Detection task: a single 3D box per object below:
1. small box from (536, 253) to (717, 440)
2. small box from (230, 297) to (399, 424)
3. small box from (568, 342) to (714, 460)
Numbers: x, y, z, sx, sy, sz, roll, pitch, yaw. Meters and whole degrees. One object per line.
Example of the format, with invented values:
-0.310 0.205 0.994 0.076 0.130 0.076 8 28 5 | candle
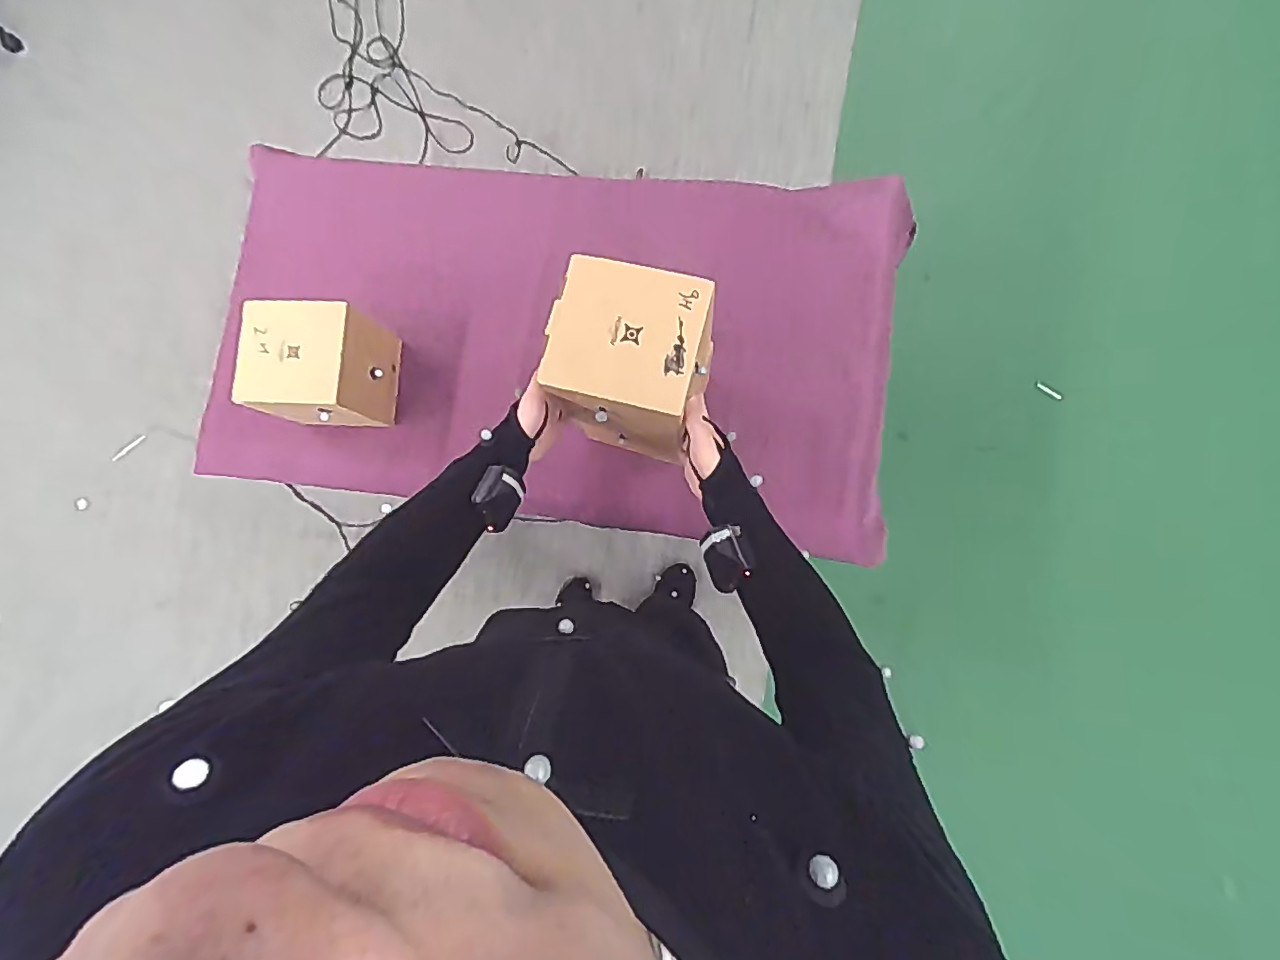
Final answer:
-0.008 -0.159 0.695 0.179 0.176 0.168 14 85 7 | small box
-0.534 -0.193 0.912 0.179 0.176 0.168 3 84 5 | small box
0.007 -0.139 0.861 0.179 0.176 0.168 18 86 6 | small box
